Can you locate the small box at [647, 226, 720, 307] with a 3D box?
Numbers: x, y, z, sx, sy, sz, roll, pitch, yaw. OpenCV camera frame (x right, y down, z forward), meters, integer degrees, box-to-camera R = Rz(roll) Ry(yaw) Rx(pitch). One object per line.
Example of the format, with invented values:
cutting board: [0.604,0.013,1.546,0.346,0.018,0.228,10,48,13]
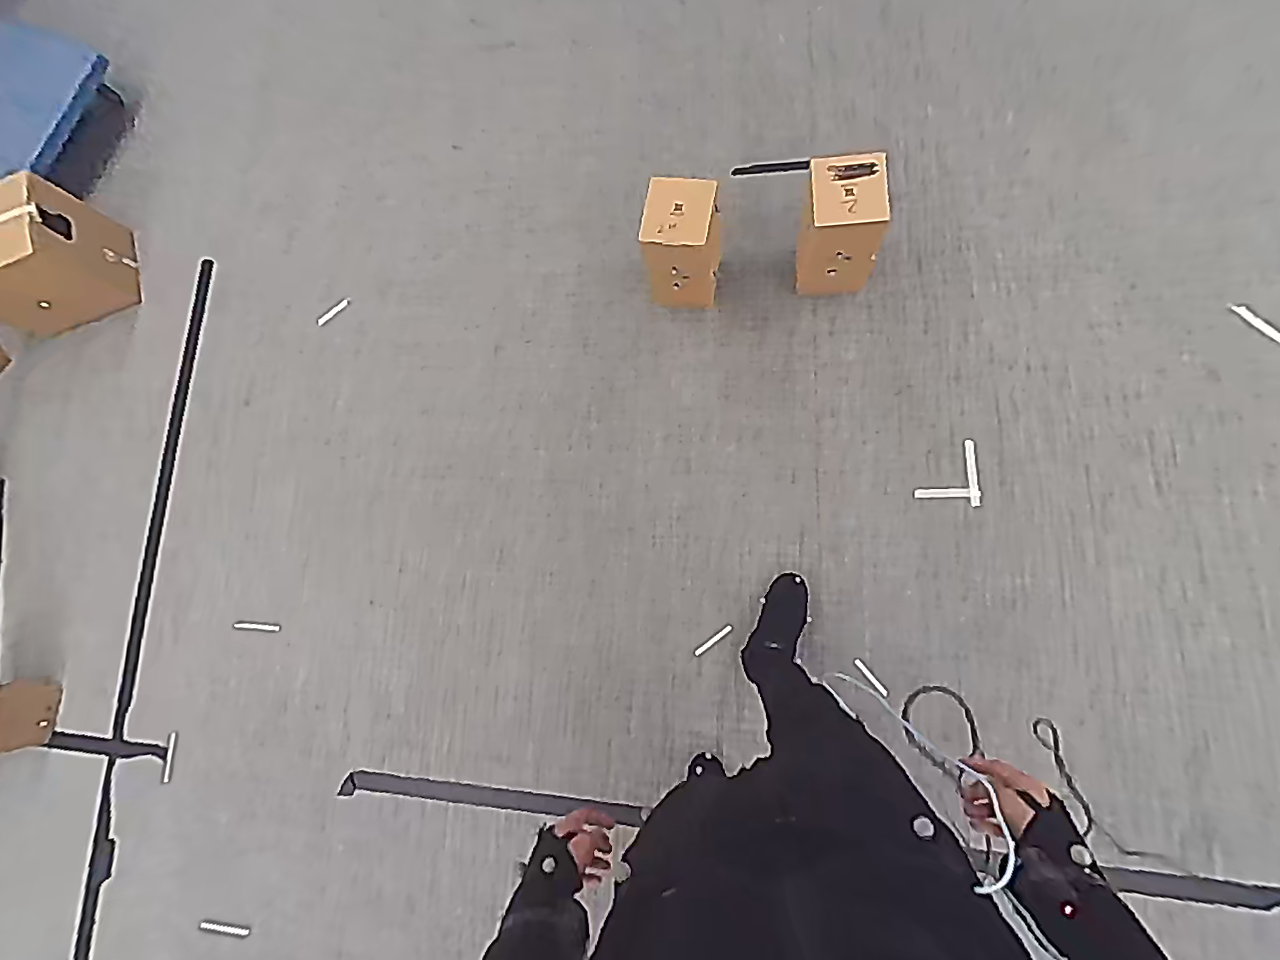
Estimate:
small box: [0.129,-0.605,1.530,0.179,0.176,0.168,8,82,11]

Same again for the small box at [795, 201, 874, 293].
small box: [0.519,-0.624,1.469,0.179,0.176,0.168,-1,81,8]

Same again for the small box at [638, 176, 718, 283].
small box: [0.103,-0.630,1.369,0.168,0.176,0.179,10,83,11]
